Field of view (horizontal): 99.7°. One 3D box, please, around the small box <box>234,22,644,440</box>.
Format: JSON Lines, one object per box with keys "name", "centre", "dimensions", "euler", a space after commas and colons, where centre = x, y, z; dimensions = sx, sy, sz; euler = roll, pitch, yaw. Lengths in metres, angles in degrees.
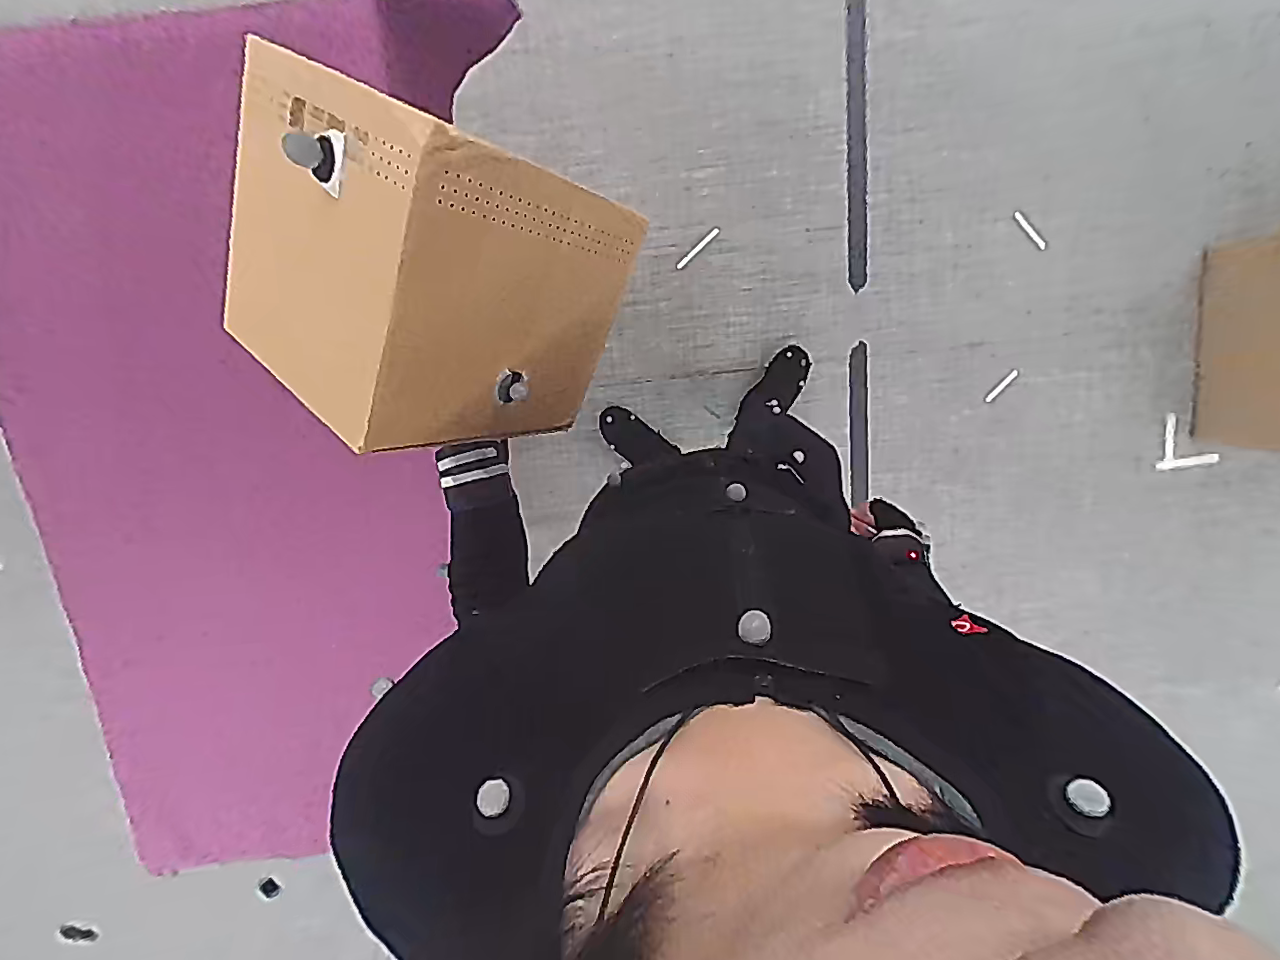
{"name": "small box", "centre": [-0.125, -0.144, 0.352], "dimensions": [0.168, 0.179, 0.176], "euler": [35, 115, 25]}
